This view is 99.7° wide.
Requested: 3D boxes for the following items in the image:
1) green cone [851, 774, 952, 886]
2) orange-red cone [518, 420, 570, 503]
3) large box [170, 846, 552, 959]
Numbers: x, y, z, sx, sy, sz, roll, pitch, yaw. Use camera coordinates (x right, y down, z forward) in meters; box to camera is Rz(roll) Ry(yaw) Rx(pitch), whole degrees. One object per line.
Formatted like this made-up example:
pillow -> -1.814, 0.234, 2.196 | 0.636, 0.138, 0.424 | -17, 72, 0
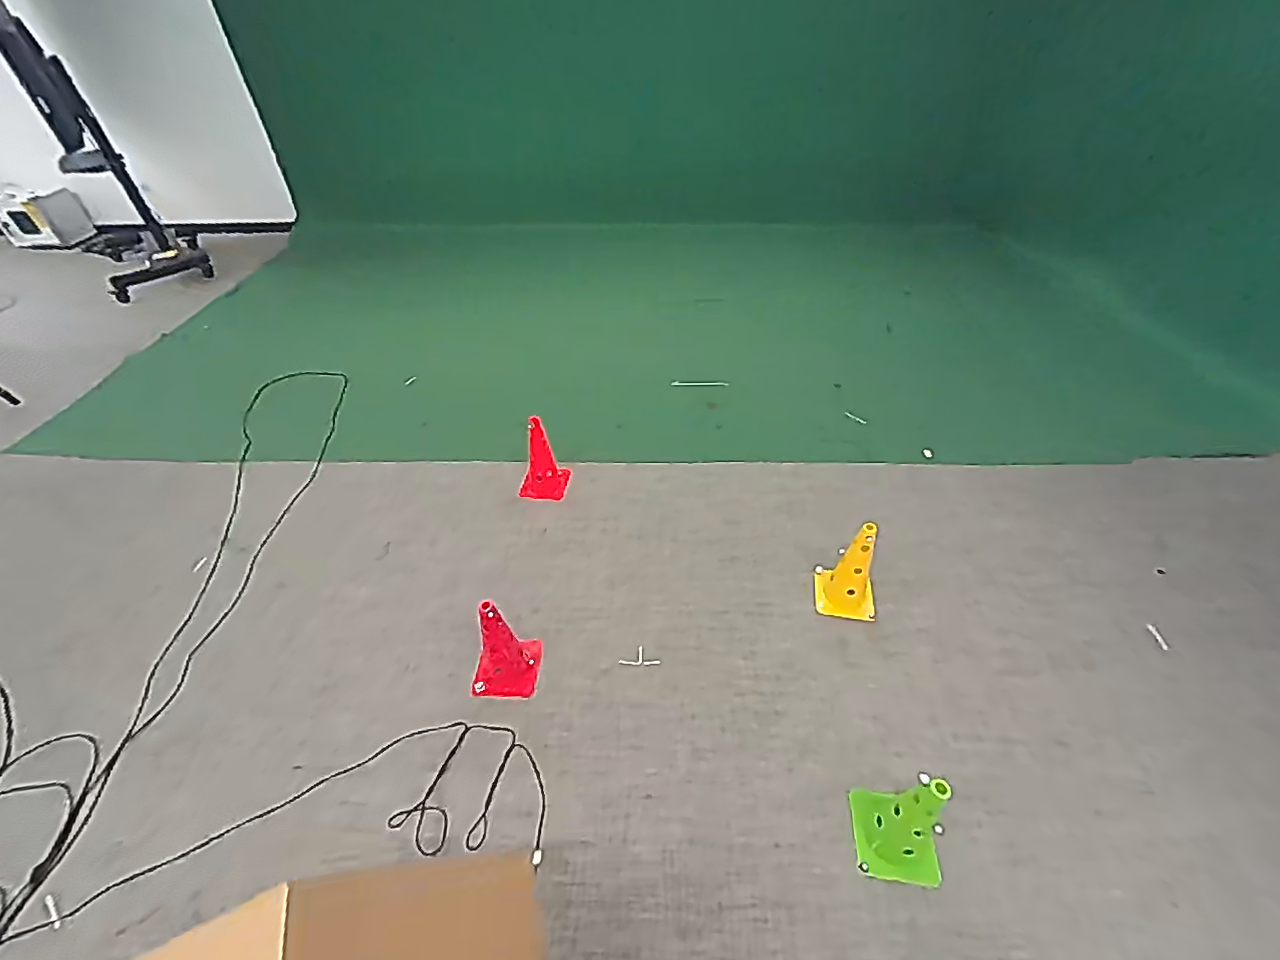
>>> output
green cone -> 0.663, 0.798, 1.291 | 0.200, 0.368, 0.202 | 4, 42, 5
orange-red cone -> -0.429, -0.099, 2.277 | 0.199, 0.360, 0.198 | 4, 42, 8
large box -> -0.342, 0.691, 0.647 | 0.320, 0.408, 0.320 | -32, 52, 12
